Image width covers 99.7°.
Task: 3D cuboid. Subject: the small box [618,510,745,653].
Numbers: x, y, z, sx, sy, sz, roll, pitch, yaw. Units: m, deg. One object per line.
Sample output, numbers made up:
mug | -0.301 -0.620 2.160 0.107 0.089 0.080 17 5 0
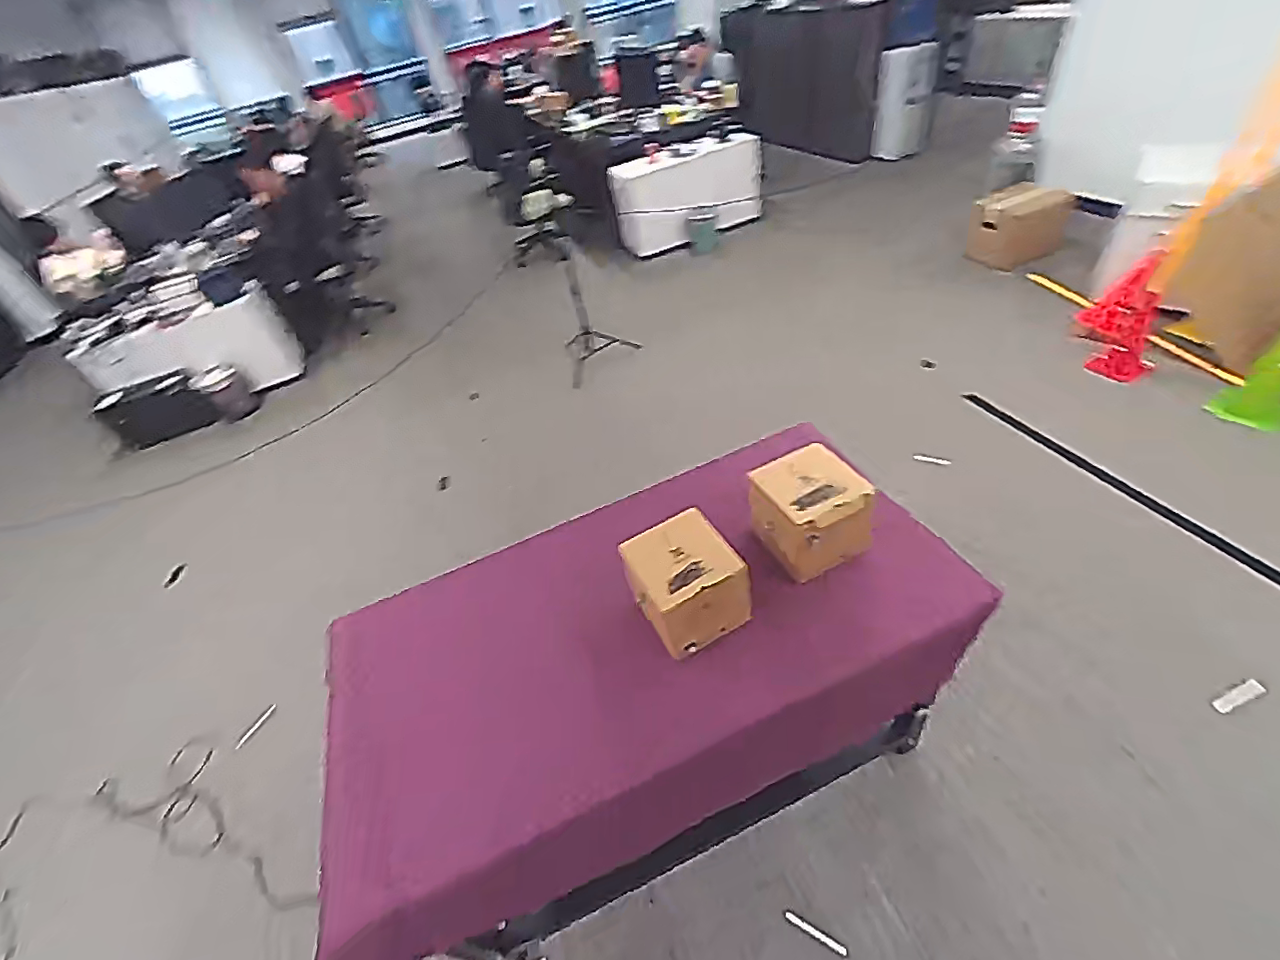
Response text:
small box | 0.082 0.194 1.006 0.168 0.176 0.179 -26 43 -13
